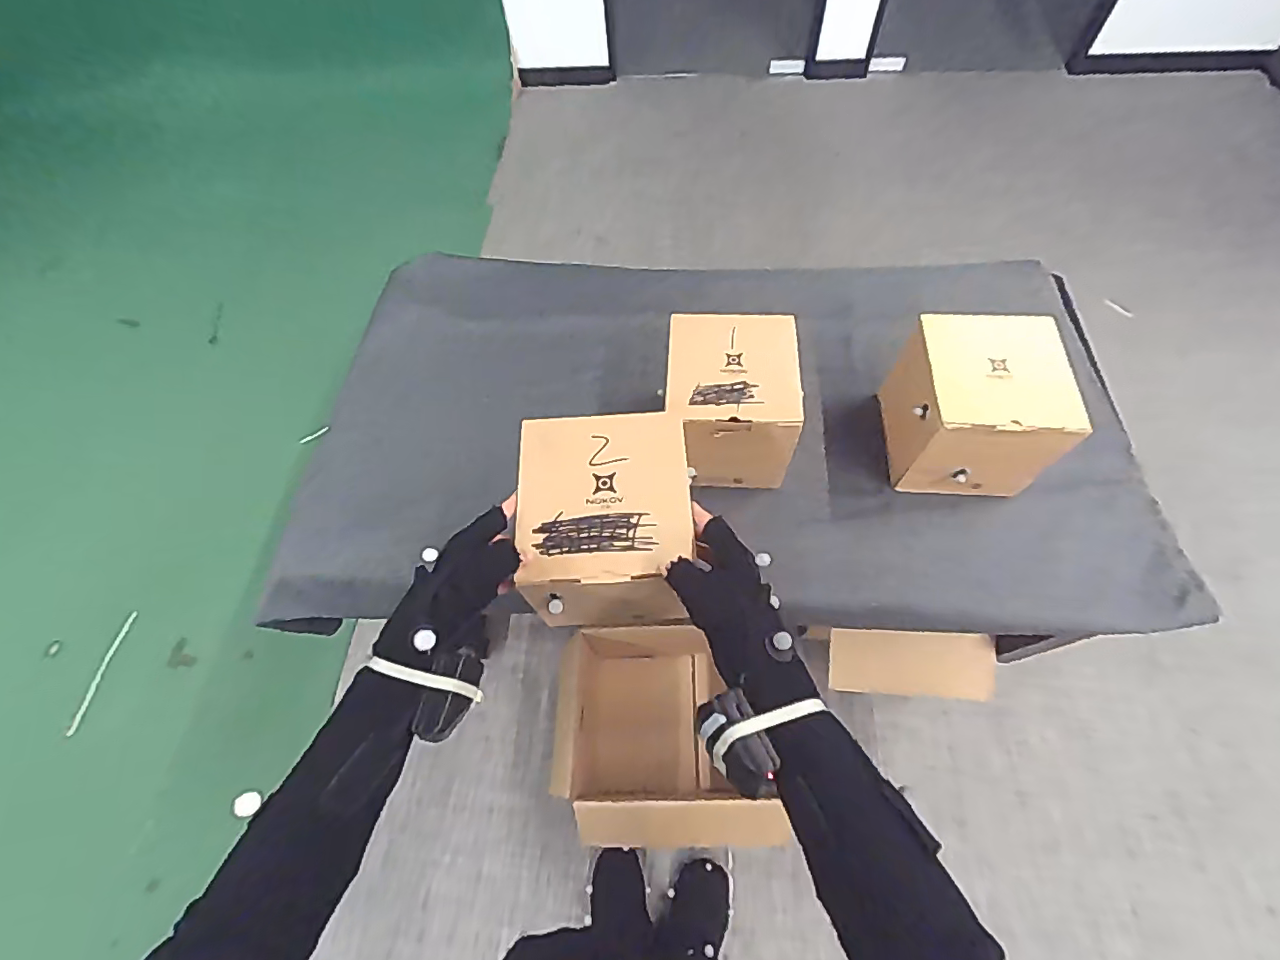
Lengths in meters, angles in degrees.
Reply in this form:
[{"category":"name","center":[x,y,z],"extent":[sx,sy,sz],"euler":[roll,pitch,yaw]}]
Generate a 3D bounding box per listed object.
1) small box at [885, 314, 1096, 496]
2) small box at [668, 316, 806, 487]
[{"category":"small box","center":[0.445,-0.096,0.724],"extent":[0.168,0.176,0.179],"euler":[3,64,5]},{"category":"small box","center":[0.127,-0.103,0.746],"extent":[0.168,0.176,0.179],"euler":[2,61,5]}]
